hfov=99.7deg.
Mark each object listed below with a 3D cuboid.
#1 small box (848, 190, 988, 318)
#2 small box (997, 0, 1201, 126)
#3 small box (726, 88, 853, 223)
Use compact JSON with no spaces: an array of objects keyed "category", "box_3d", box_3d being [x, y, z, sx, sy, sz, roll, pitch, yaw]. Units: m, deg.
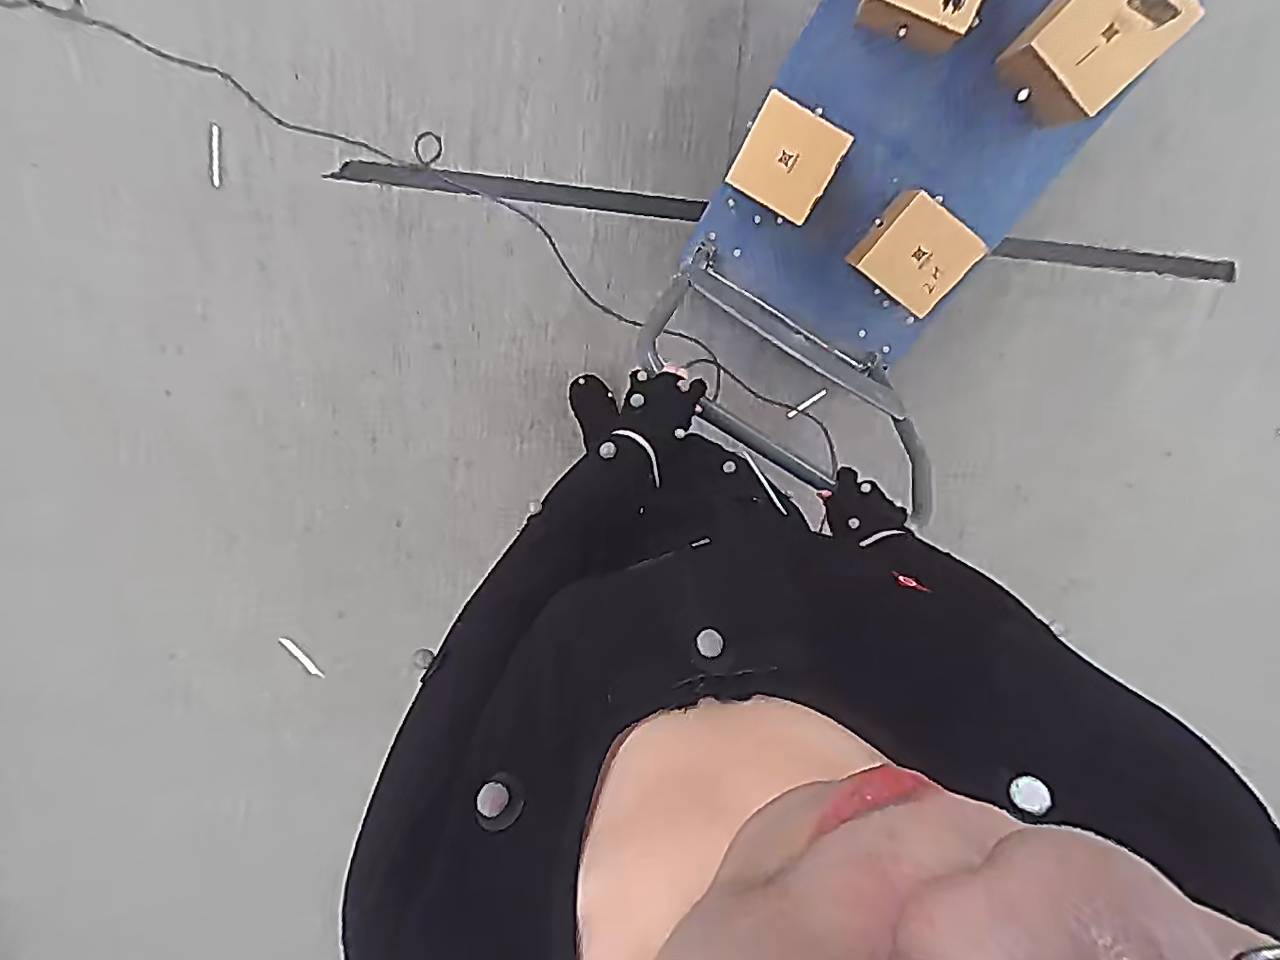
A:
[{"category":"small box","box_3d":[0.555,-0.464,1.110,0.179,0.176,0.168,36,119,-7]},{"category":"small box","box_3d":[0.762,-0.745,0.922,0.168,0.176,0.179,41,119,-10]},{"category":"small box","box_3d":[0.288,-0.635,1.079,0.179,0.176,0.168,28,119,-5]}]
